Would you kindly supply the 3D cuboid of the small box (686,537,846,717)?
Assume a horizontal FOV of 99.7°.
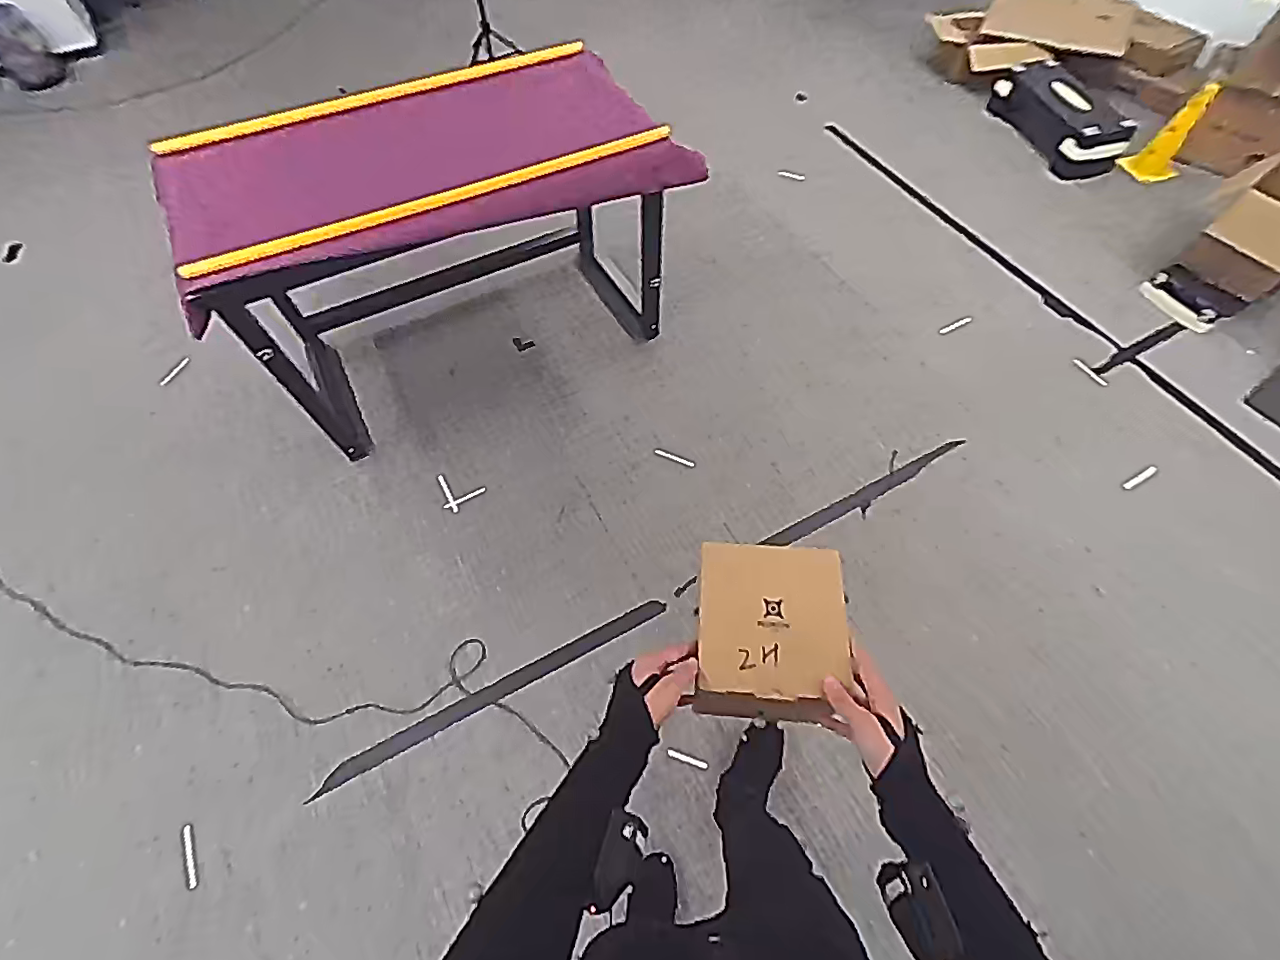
[{"bbox_3d":[0.145,0.189,0.682,0.168,0.176,0.179,2,60,5],"label":"small box"}]
